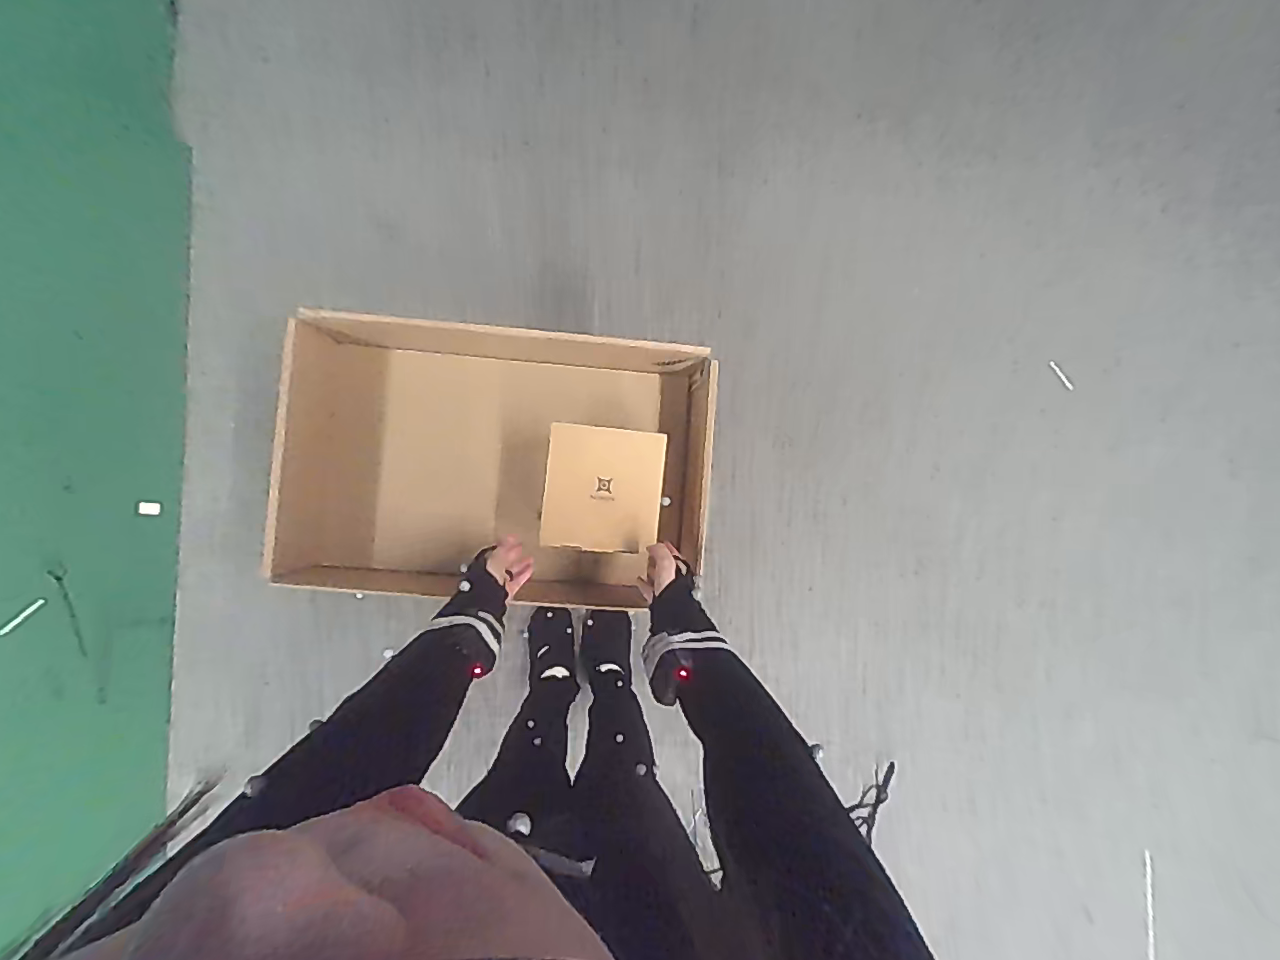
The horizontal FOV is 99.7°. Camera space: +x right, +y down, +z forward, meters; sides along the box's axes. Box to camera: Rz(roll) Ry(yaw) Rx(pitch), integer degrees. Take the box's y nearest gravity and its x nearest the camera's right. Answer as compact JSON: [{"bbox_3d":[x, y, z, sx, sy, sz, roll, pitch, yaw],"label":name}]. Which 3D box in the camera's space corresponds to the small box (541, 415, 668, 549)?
[{"bbox_3d":[-0.056,0.005,0.838,0.168,0.176,0.179,6,89,-4],"label":"small box"}]
